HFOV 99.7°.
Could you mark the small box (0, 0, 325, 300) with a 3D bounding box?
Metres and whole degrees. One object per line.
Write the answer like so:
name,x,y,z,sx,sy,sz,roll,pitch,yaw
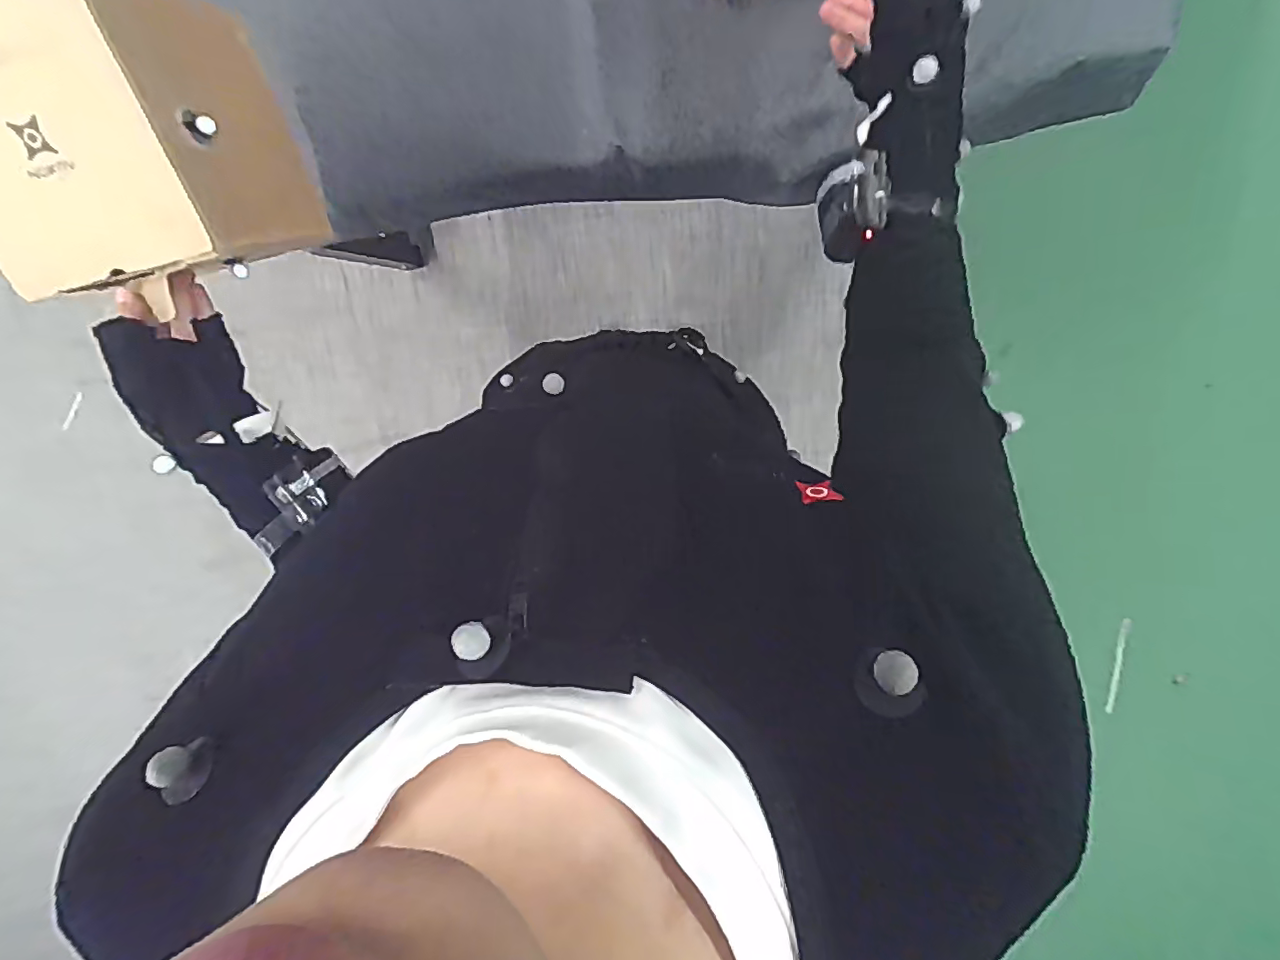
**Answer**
small box,-0.393,-0.259,0.423,0.168,0.176,0.179,-12,116,6
